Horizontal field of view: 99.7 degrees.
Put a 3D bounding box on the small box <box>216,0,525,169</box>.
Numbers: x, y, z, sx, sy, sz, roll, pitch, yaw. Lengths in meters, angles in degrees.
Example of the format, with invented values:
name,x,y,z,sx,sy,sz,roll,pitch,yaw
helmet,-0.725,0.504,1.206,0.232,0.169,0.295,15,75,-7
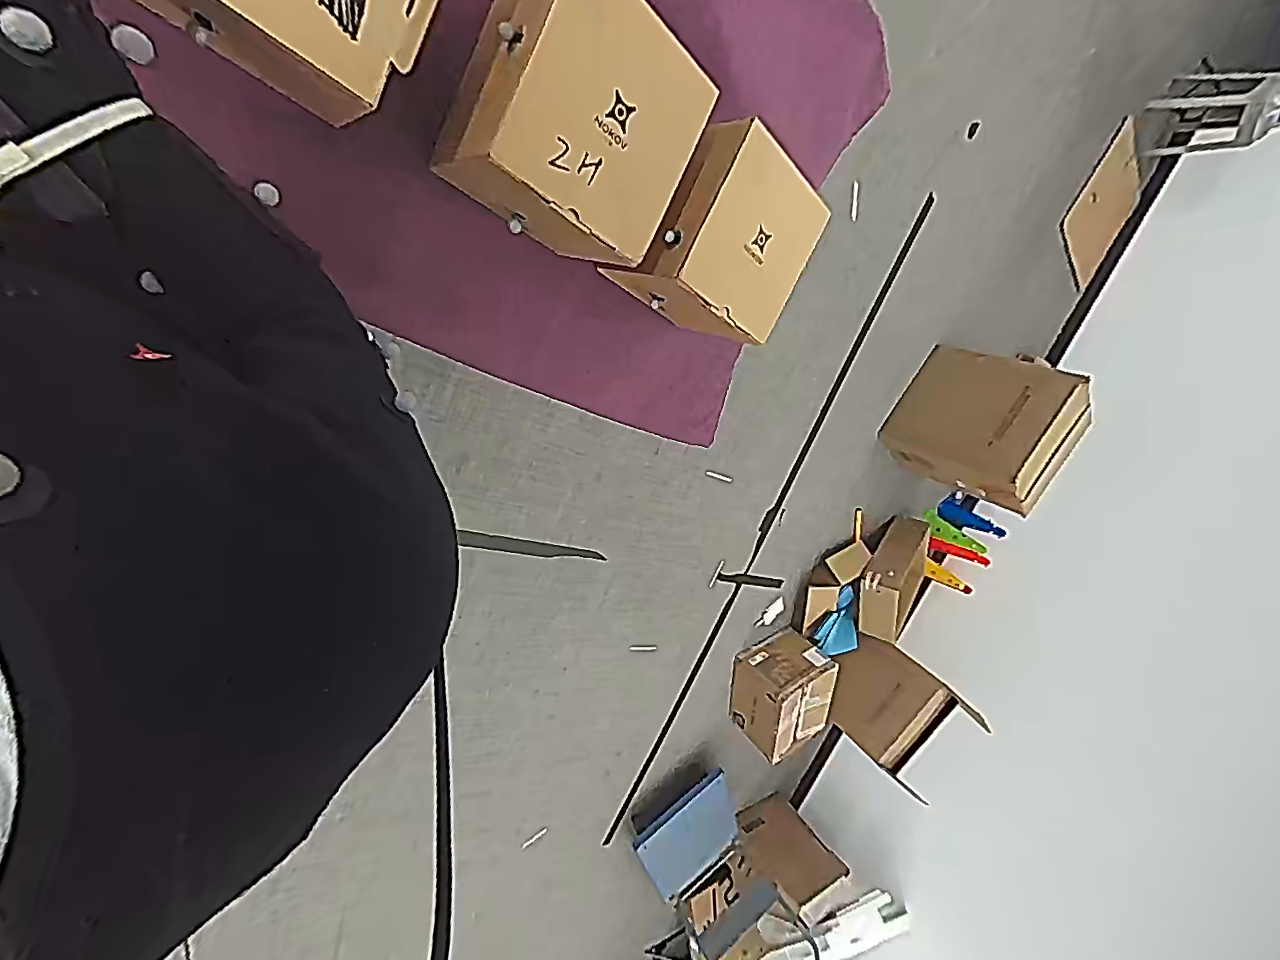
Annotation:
name,x,y,z,sx,sy,sz,roll,pitch,yaw
small box,-0.195,-0.361,0.380,0.179,0.176,0.168,-4,156,-31

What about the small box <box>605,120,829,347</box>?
name,x,y,z,sx,sy,sz,roll,pitch,yaw
small box,0.085,-0.289,0.651,0.168,0.176,0.179,20,99,-42
